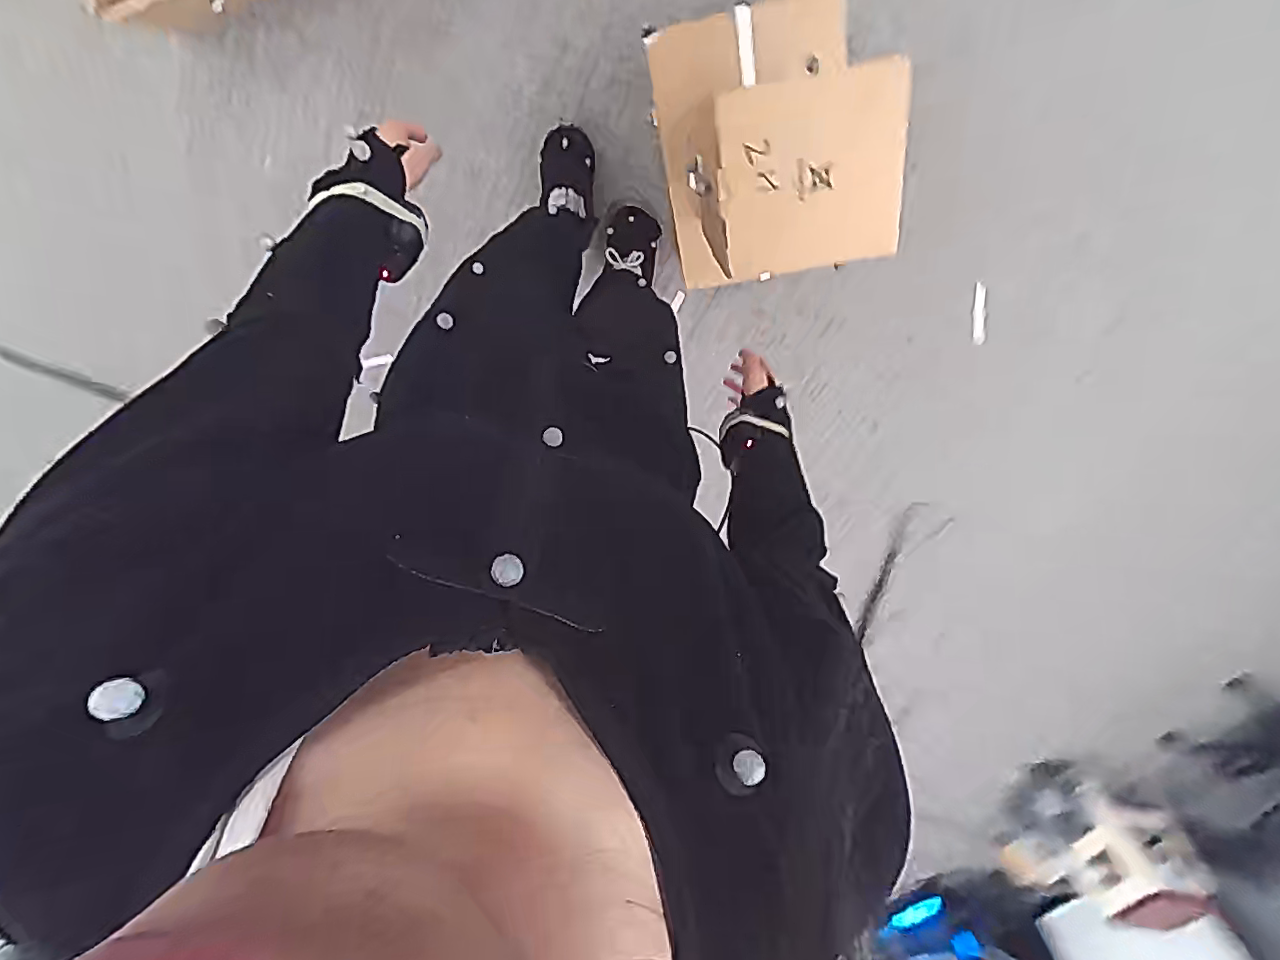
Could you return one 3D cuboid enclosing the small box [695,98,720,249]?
[{"bbox_3d":[0.173,-0.423,0.728,0.179,0.176,0.168,-6,122,6],"label":"small box"}]

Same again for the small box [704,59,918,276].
[{"bbox_3d":[0.170,-0.335,0.588,0.179,0.176,0.168,-7,121,5],"label":"small box"}]
